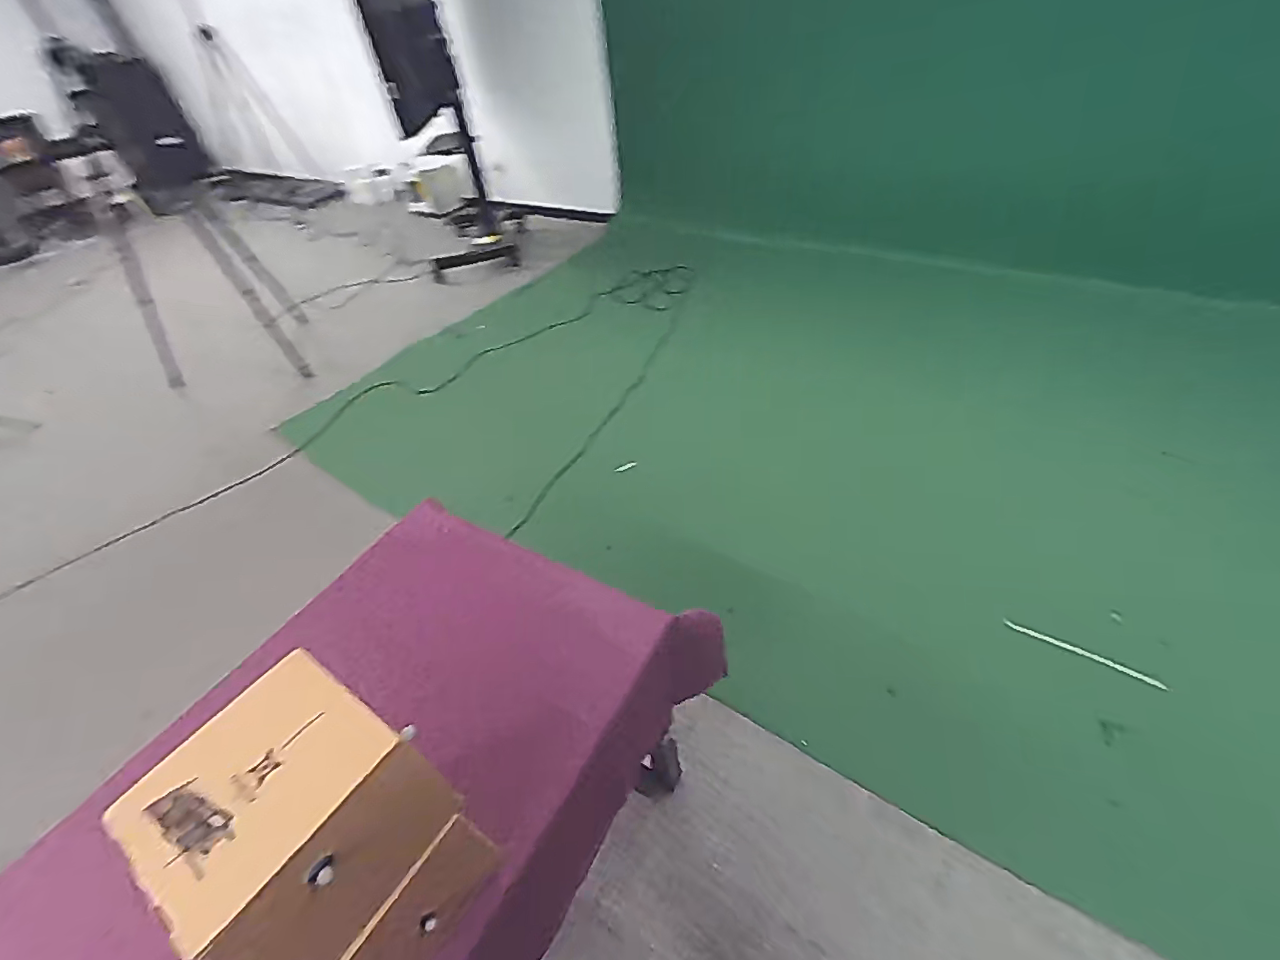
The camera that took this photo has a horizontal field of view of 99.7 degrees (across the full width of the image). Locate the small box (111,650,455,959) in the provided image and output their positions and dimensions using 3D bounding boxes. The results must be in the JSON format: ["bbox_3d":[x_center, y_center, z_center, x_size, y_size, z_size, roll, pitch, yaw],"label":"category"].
[{"bbox_3d":[-0.306,0.303,0.500,0.168,0.176,0.179,22,50,27],"label":"small box"}]

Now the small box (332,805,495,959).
[{"bbox_3d":[-0.293,0.428,0.607,0.179,0.176,0.168,21,50,27],"label":"small box"}]
